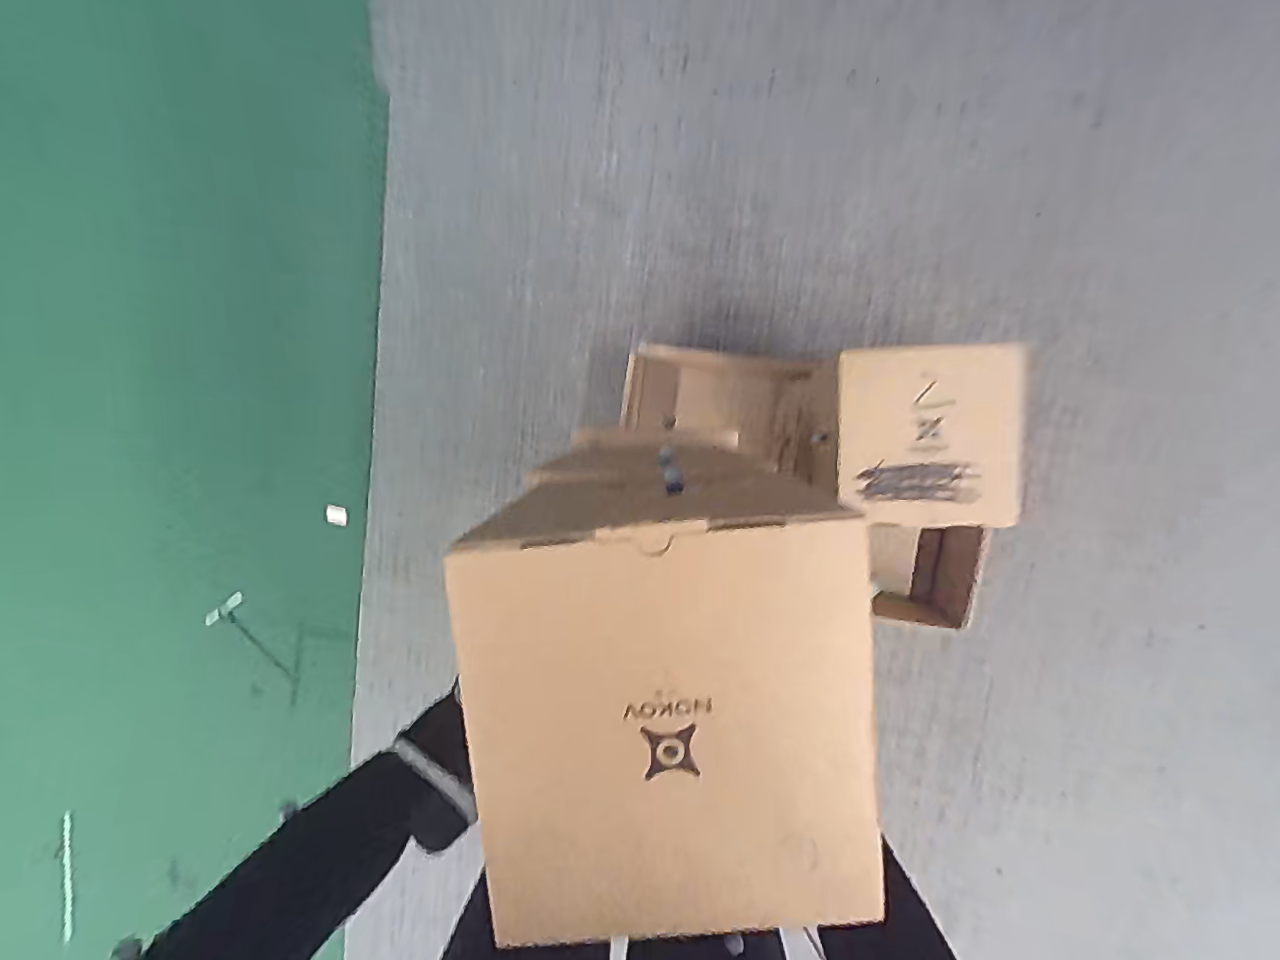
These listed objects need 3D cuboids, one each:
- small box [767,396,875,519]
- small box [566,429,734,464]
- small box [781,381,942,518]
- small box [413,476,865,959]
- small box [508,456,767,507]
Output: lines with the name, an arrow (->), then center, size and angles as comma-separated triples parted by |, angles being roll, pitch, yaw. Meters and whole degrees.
small box -> 0.315, -0.043, 0.928 | 0.168, 0.176, 0.179 | 9, 97, 10
small box -> 0.010, 0.034, 0.610 | 0.168, 0.176, 0.179 | 1, 96, 1
small box -> 0.297, -0.046, 0.765 | 0.179, 0.176, 0.168 | 4, 96, 11
small box -> 0.006, 0.098, 0.289 | 0.168, 0.176, 0.179 | -5, 95, 3
small box -> 0.004, 0.068, 0.448 | 0.179, 0.176, 0.168 | -1, 96, 5
